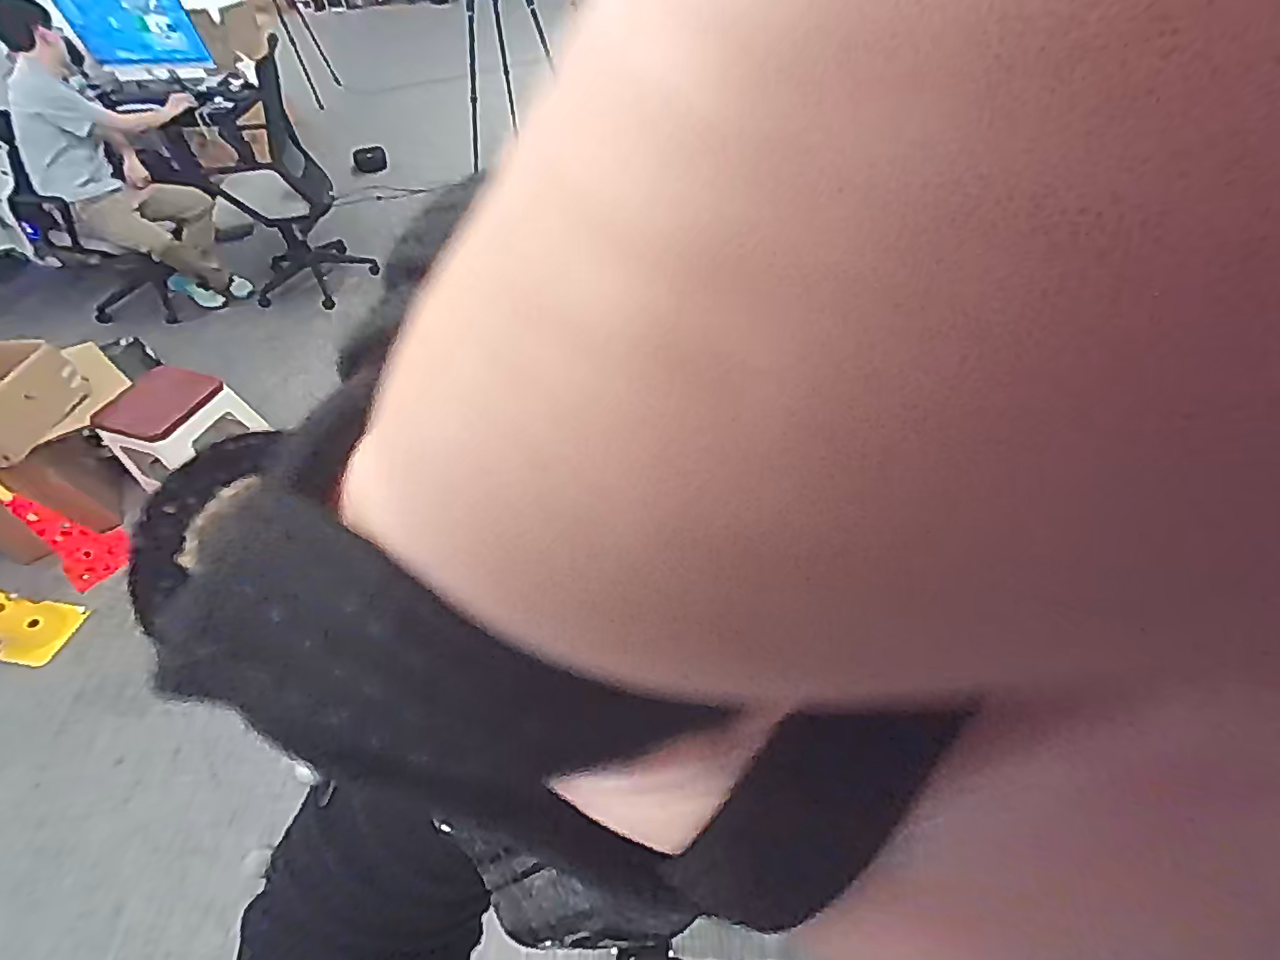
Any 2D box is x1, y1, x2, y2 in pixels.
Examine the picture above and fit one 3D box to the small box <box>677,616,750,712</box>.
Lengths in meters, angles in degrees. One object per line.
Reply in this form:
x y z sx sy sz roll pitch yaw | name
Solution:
0.179 0.461 1.353 0.168 0.176 0.179 3 52 4 | small box
